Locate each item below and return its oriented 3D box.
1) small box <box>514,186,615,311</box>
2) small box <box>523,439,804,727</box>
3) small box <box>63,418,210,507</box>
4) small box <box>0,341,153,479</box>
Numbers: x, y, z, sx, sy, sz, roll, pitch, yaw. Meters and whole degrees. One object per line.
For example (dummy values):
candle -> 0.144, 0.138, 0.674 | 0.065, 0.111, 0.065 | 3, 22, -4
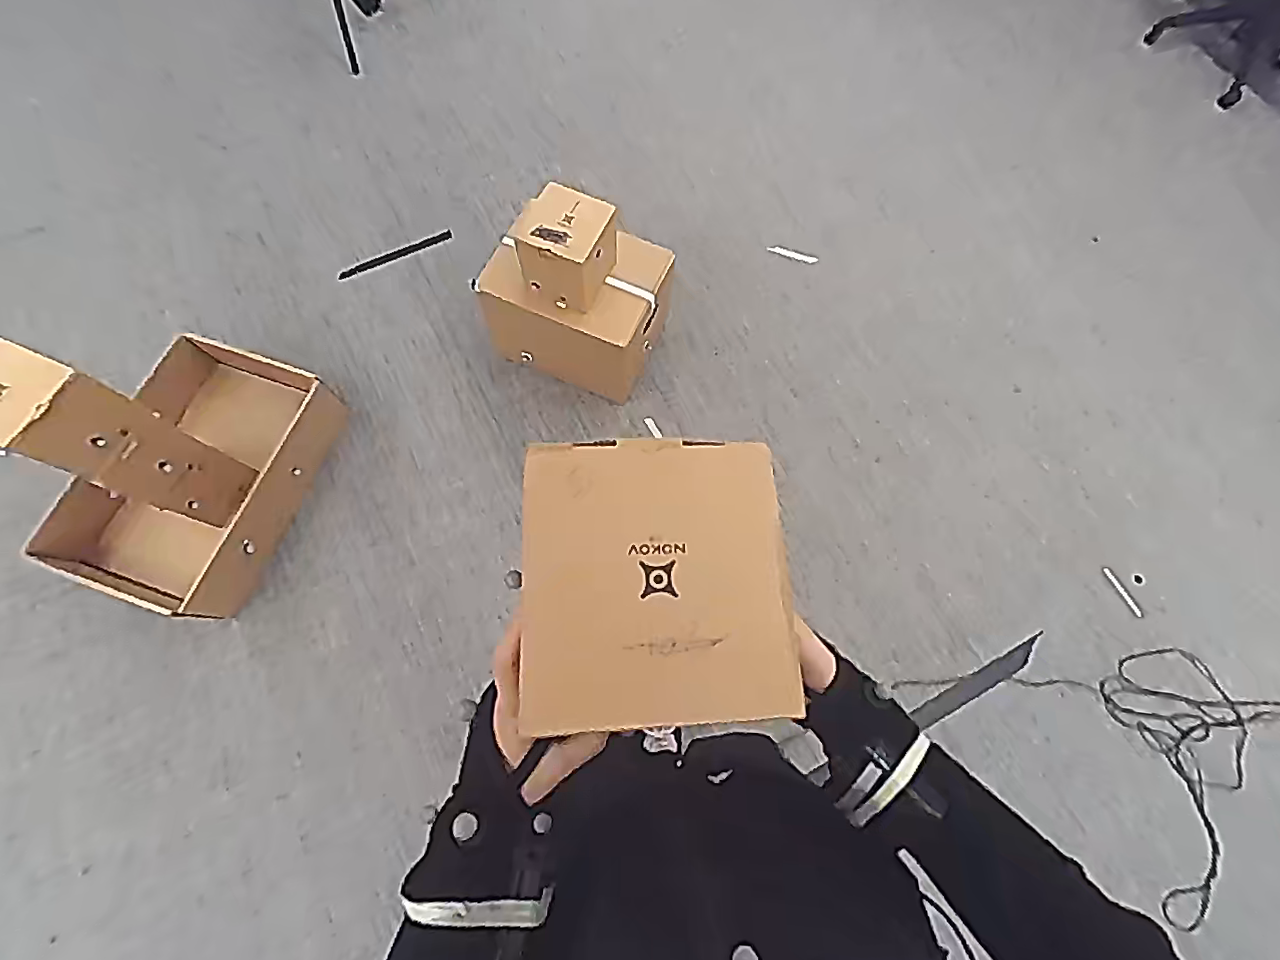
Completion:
small box -> -0.163, -0.522, 1.240 | 0.168, 0.176, 0.179 | 24, 71, 5
small box -> 0.003, 0.082, 0.409 | 0.168, 0.176, 0.179 | 0, 71, -7
small box -> -1.085, -0.058, 1.152 | 0.179, 0.176, 0.168 | 22, 71, 5
small box -> -1.085, -0.120, 1.001 | 0.179, 0.176, 0.168 | 21, 71, 5
